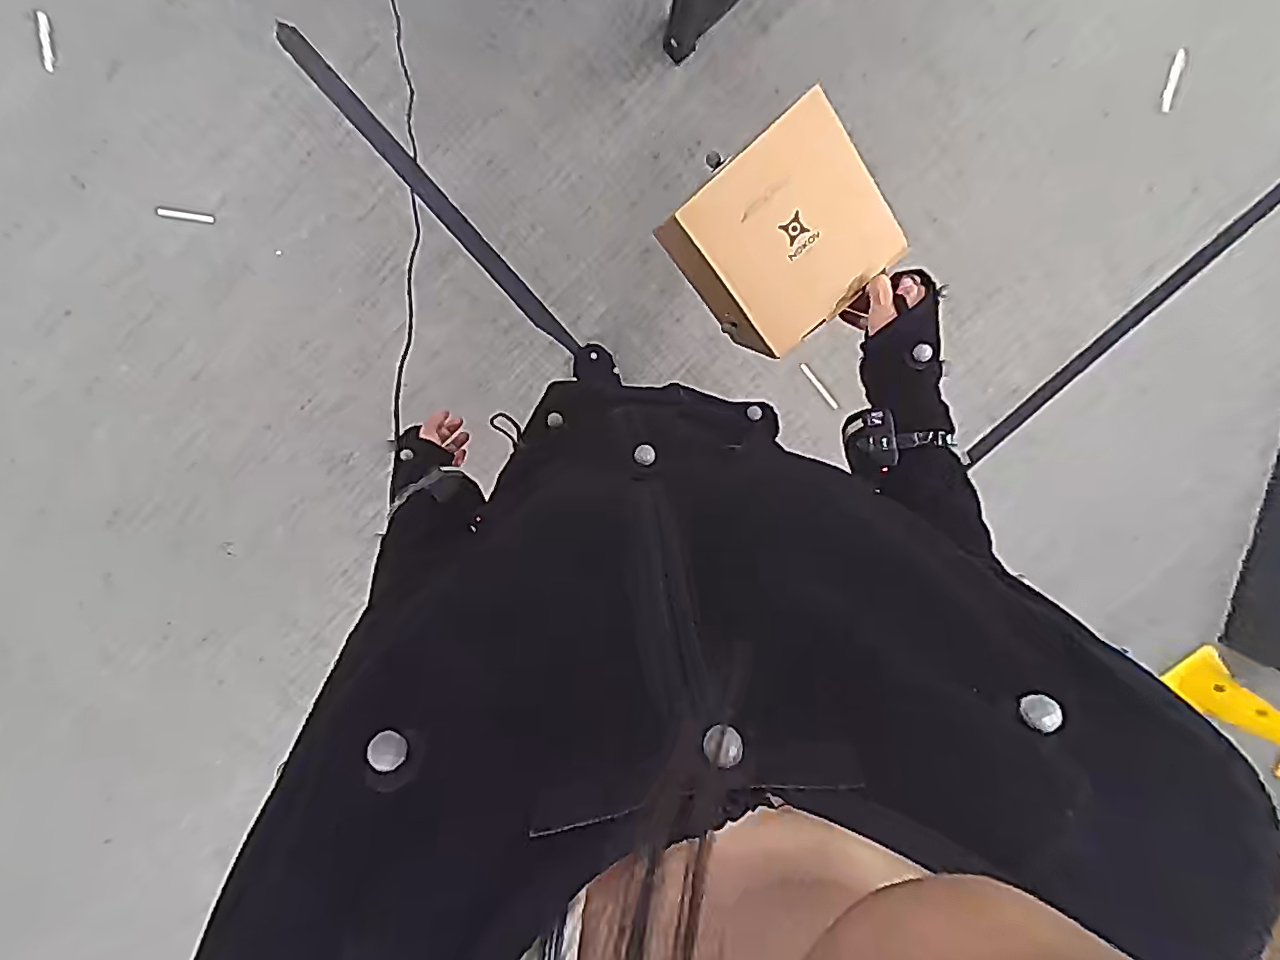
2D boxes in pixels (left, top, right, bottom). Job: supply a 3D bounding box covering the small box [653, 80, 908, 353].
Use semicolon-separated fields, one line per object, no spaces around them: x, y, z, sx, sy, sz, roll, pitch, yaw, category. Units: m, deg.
0.135;-0.264;0.577;0.168;0.176;0.179;-41;109;8;small box
